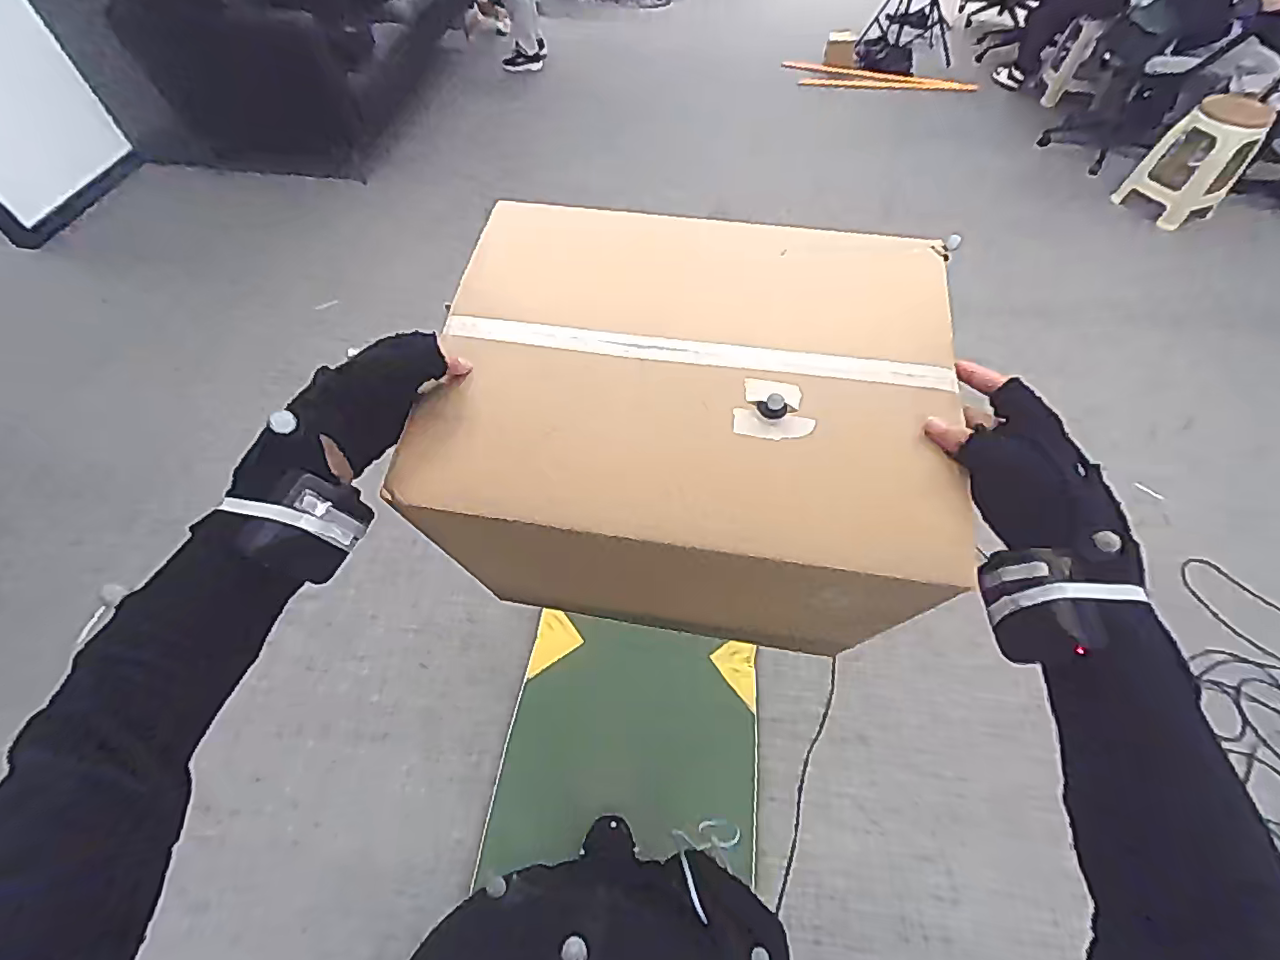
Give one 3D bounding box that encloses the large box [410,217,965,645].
[{"bbox_3d":[0.048,-0.031,0.577,0.408,0.320,0.320,8,65,5],"label":"large box"}]
